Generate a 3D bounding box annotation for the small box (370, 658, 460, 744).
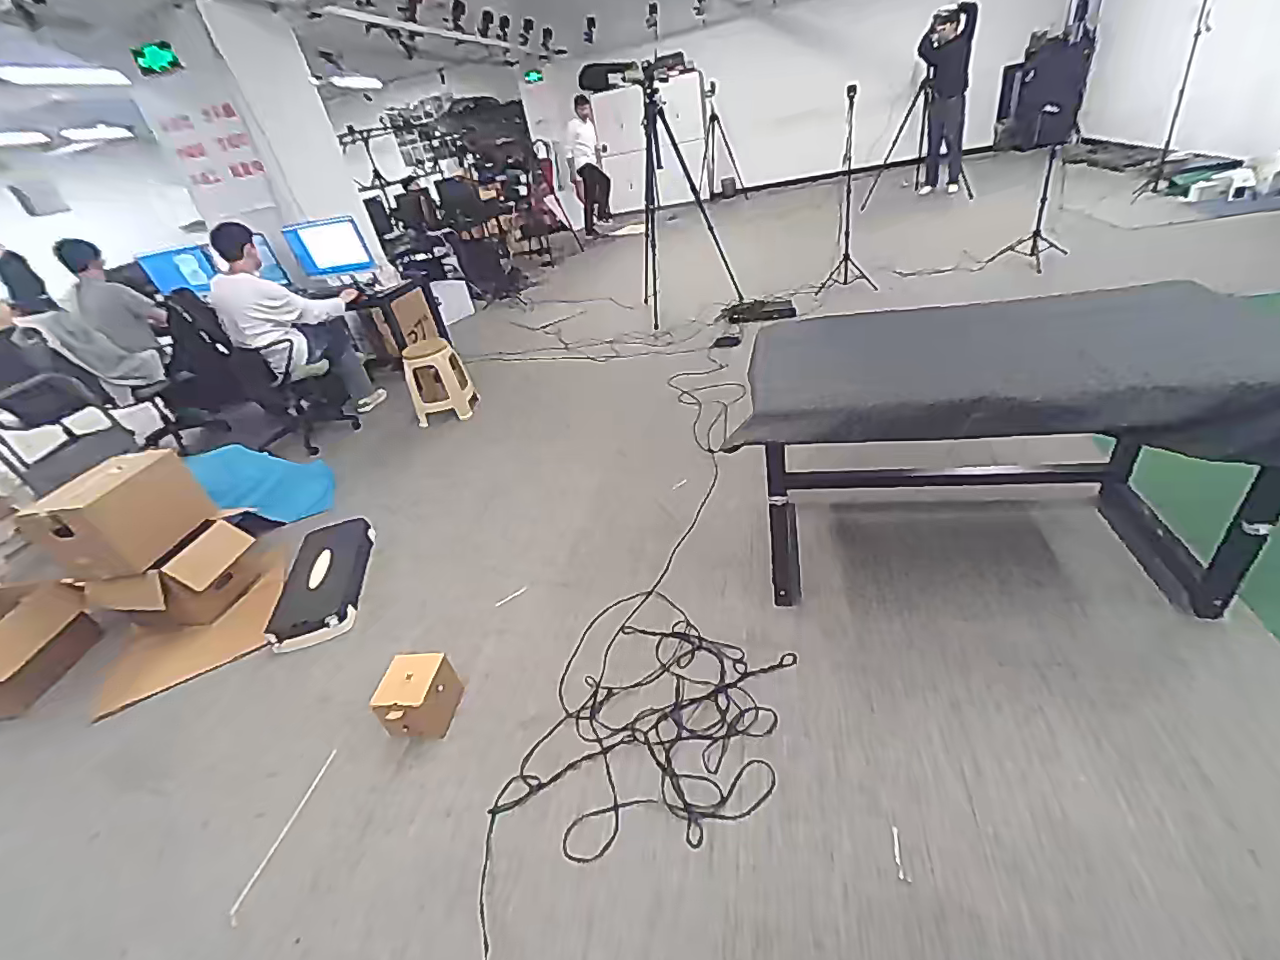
[{"bbox_3d":[-0.657,0.655,1.609,0.168,0.176,0.179,-5,34,10],"label":"small box"}]
